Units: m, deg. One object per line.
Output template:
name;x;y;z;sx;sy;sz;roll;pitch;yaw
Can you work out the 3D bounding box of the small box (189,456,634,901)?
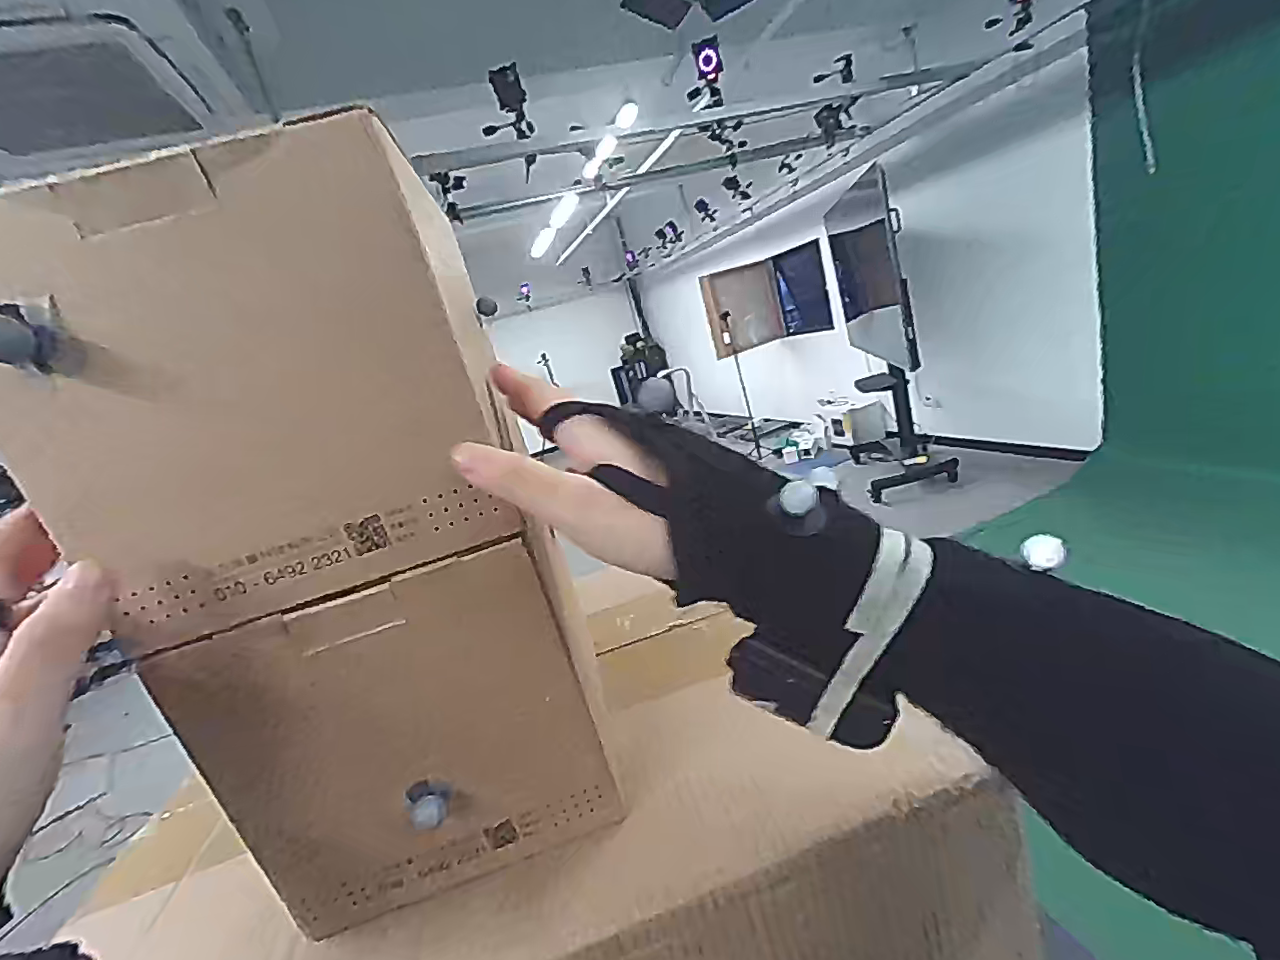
small box;-0.112;0.100;0.340;0.168;0.176;0.179;-17;17;-7
